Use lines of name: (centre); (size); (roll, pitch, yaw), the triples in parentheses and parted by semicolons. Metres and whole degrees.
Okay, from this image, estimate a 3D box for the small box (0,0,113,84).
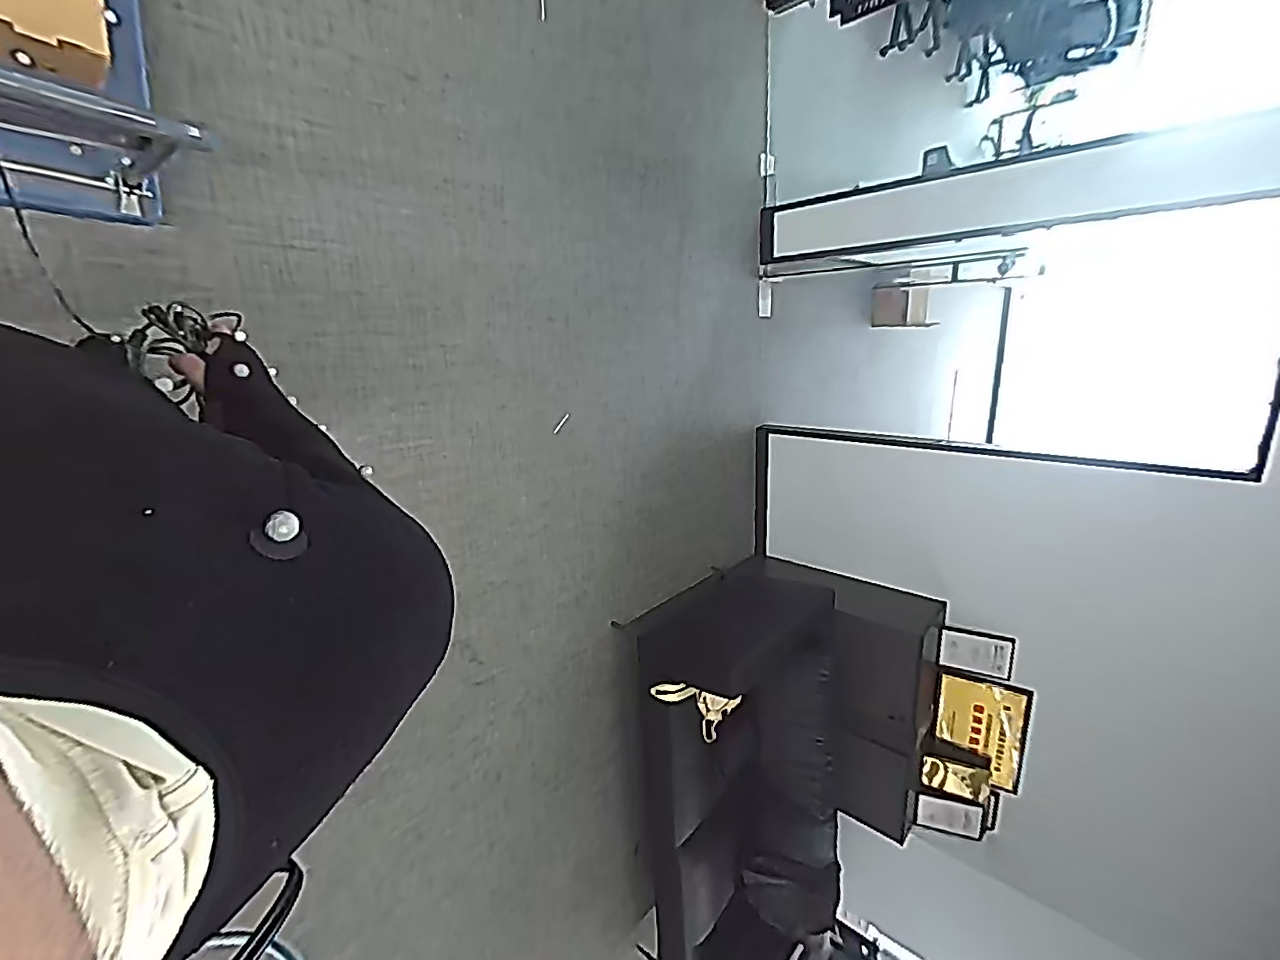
small box: (-0.973, -0.783, 0.863); (0.168, 0.176, 0.179); (-9, 107, -47)
